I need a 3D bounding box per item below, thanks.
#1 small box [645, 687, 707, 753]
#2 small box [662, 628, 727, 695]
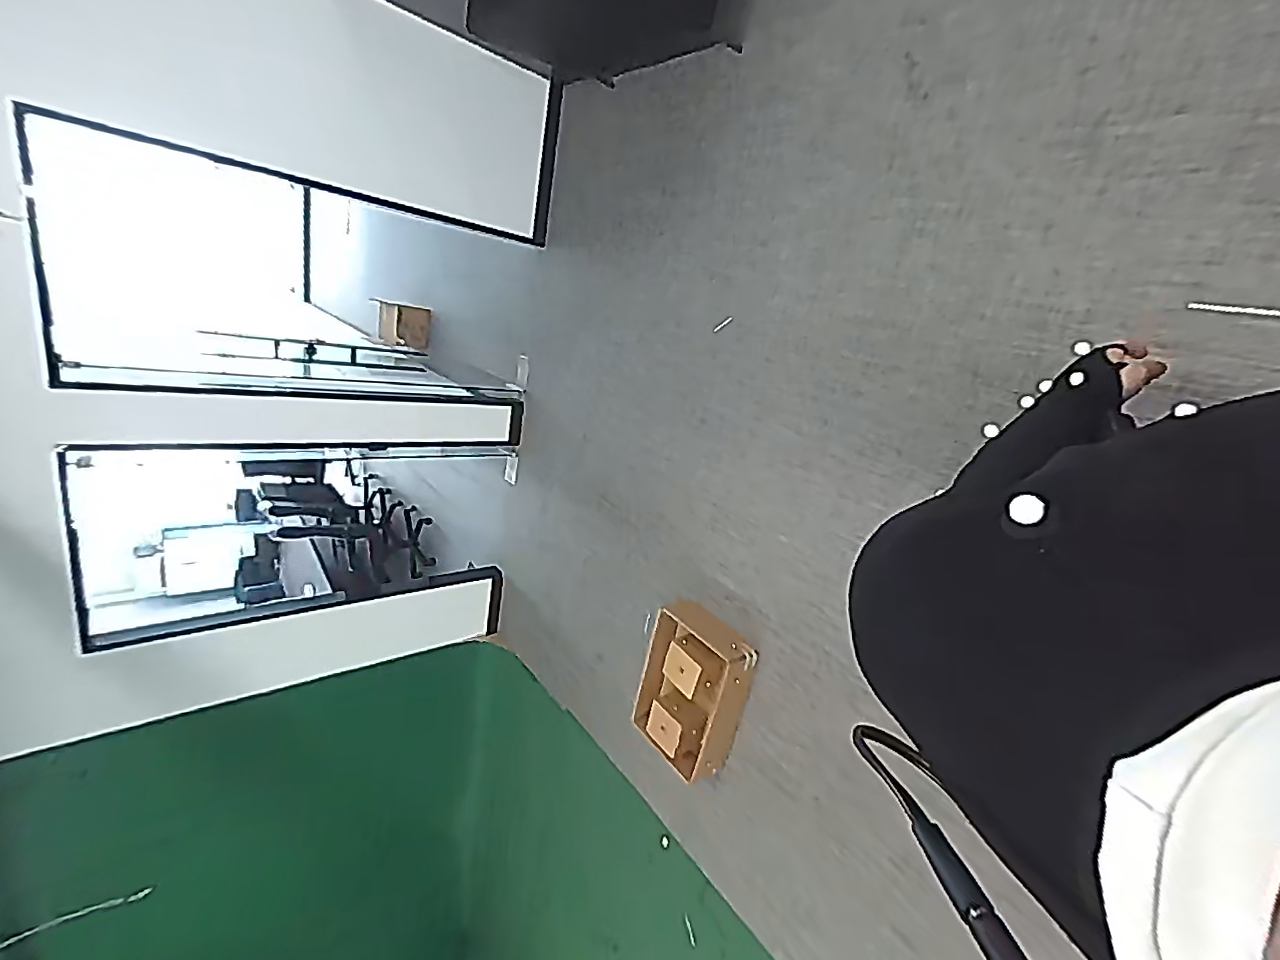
[{"bbox_3d":[0.153,0.999,2.274,0.179,0.176,0.168,31,114,45],"label":"small box"},{"bbox_3d":[0.221,0.723,2.177,0.179,0.176,0.168,35,119,42],"label":"small box"}]
